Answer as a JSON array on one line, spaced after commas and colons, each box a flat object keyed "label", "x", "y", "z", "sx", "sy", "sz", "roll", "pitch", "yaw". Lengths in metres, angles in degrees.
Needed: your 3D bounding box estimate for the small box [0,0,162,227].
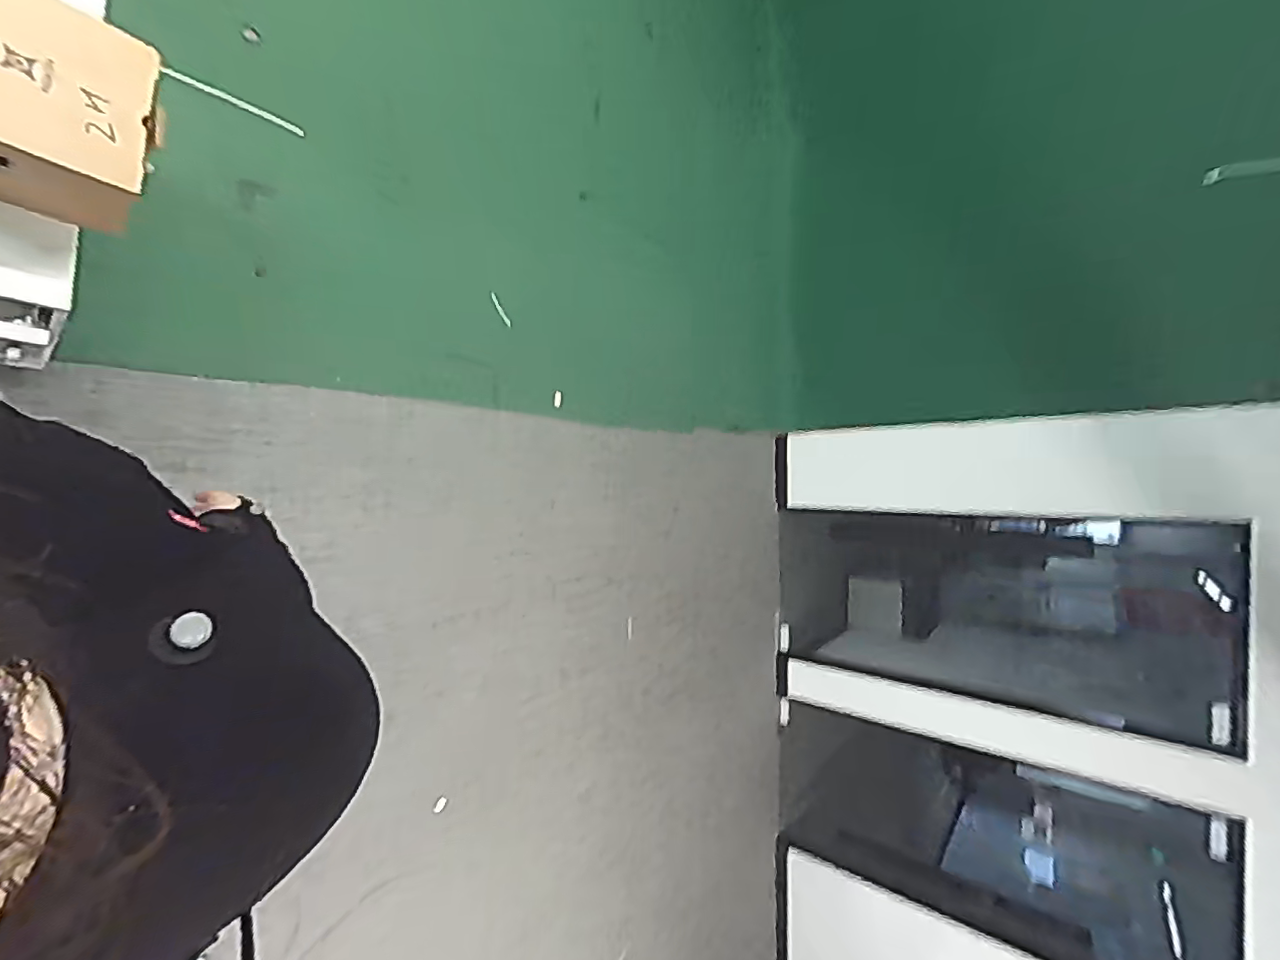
[{"label": "small box", "x": -0.639, "y": -0.394, "z": 0.563, "sx": 0.179, "sy": 0.176, "sz": 0.168, "roll": 10, "pitch": 84, "yaw": -50}]
